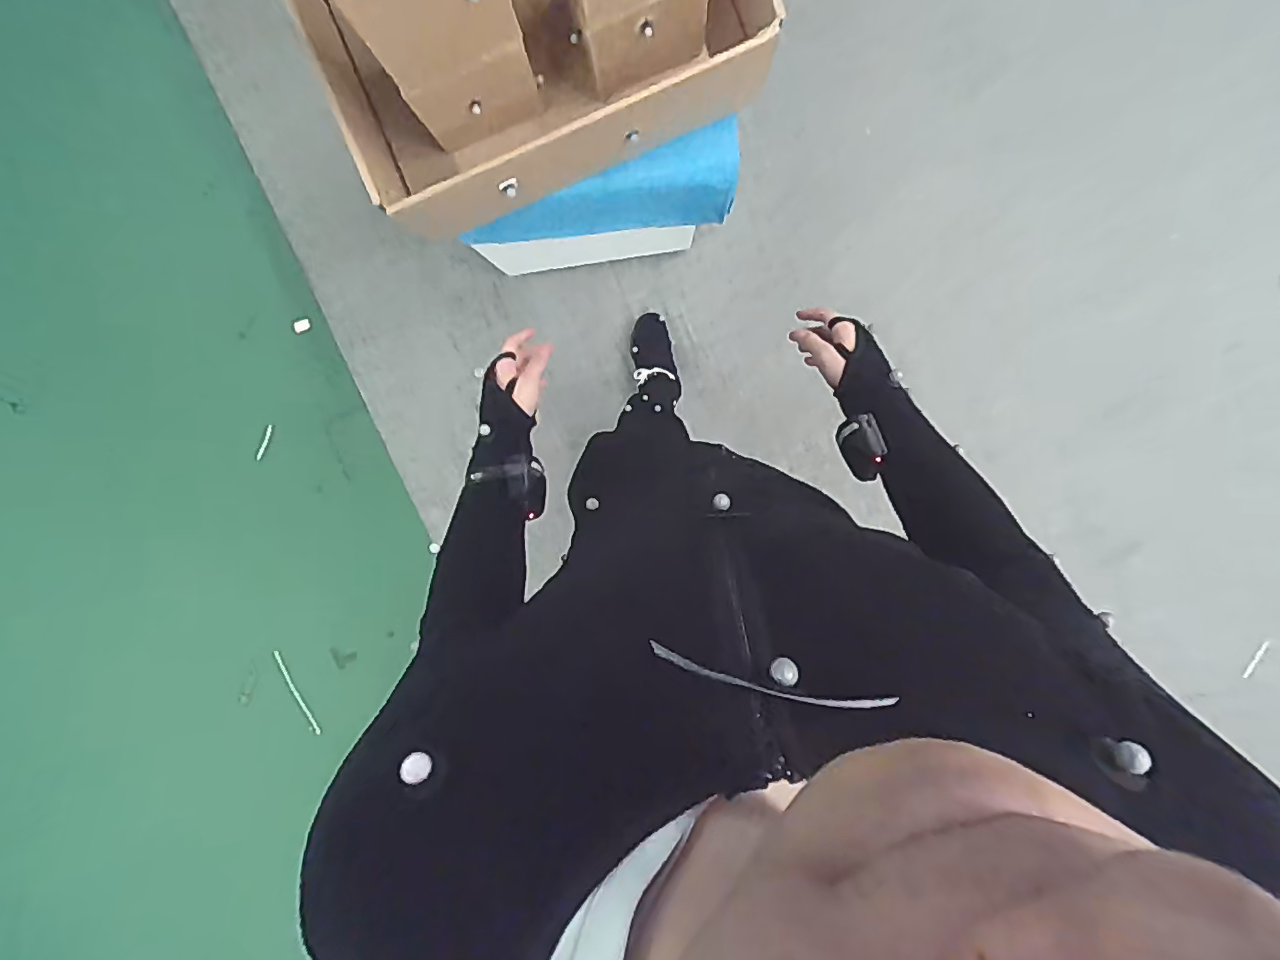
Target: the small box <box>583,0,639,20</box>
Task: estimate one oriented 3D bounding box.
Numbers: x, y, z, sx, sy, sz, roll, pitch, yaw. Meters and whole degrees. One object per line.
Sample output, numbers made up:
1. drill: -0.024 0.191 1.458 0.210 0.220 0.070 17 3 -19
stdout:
1. small box: -0.018 -0.677 0.601 0.179 0.176 0.168 -21 97 8
